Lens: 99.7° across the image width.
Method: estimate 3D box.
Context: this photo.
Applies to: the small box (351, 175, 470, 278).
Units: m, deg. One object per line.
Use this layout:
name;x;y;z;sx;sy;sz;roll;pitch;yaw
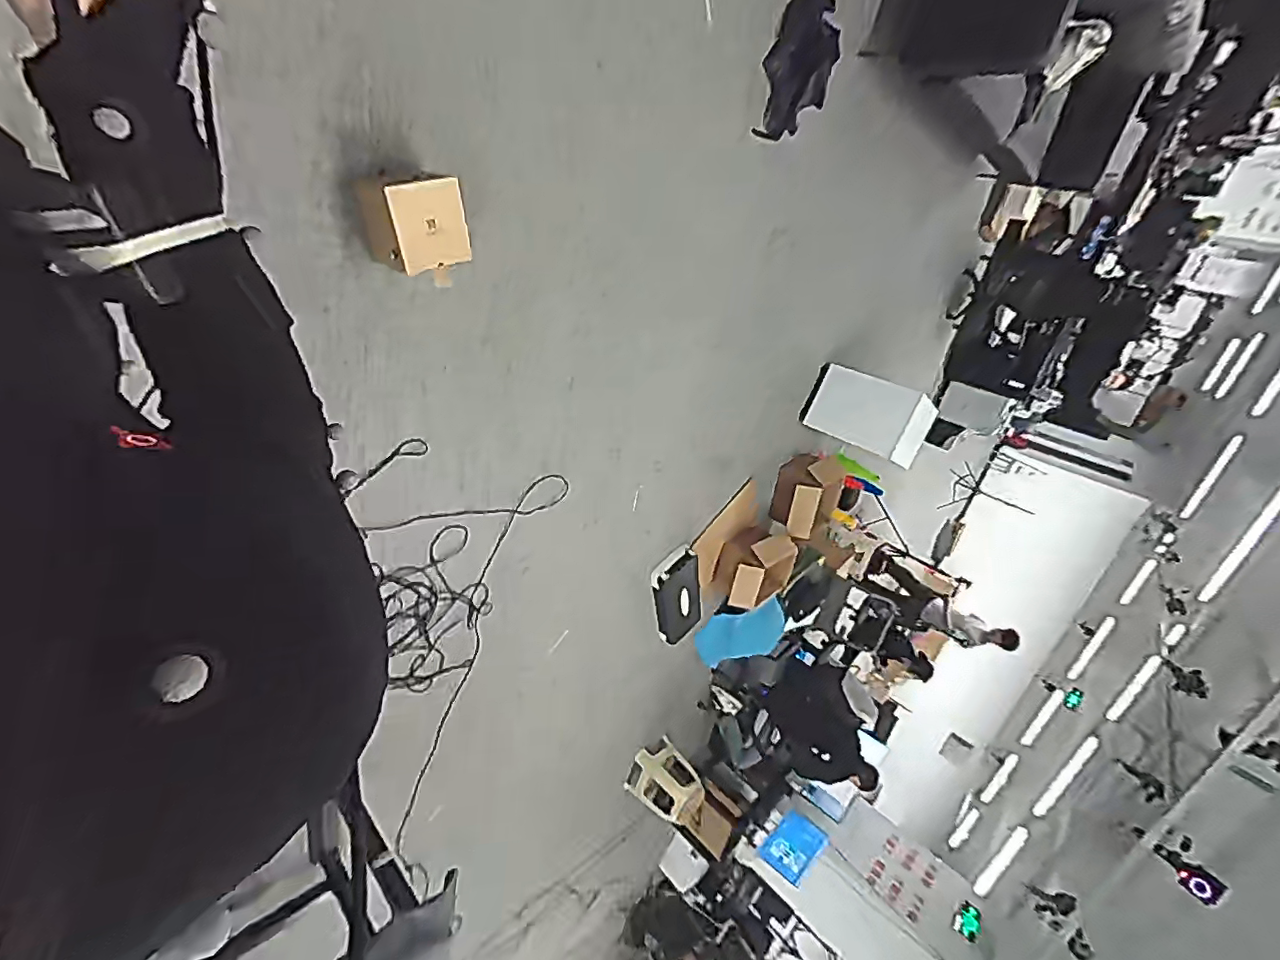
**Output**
small box;-0.515;-0.576;1.214;0.168;0.176;0.179;-33;138;-34
